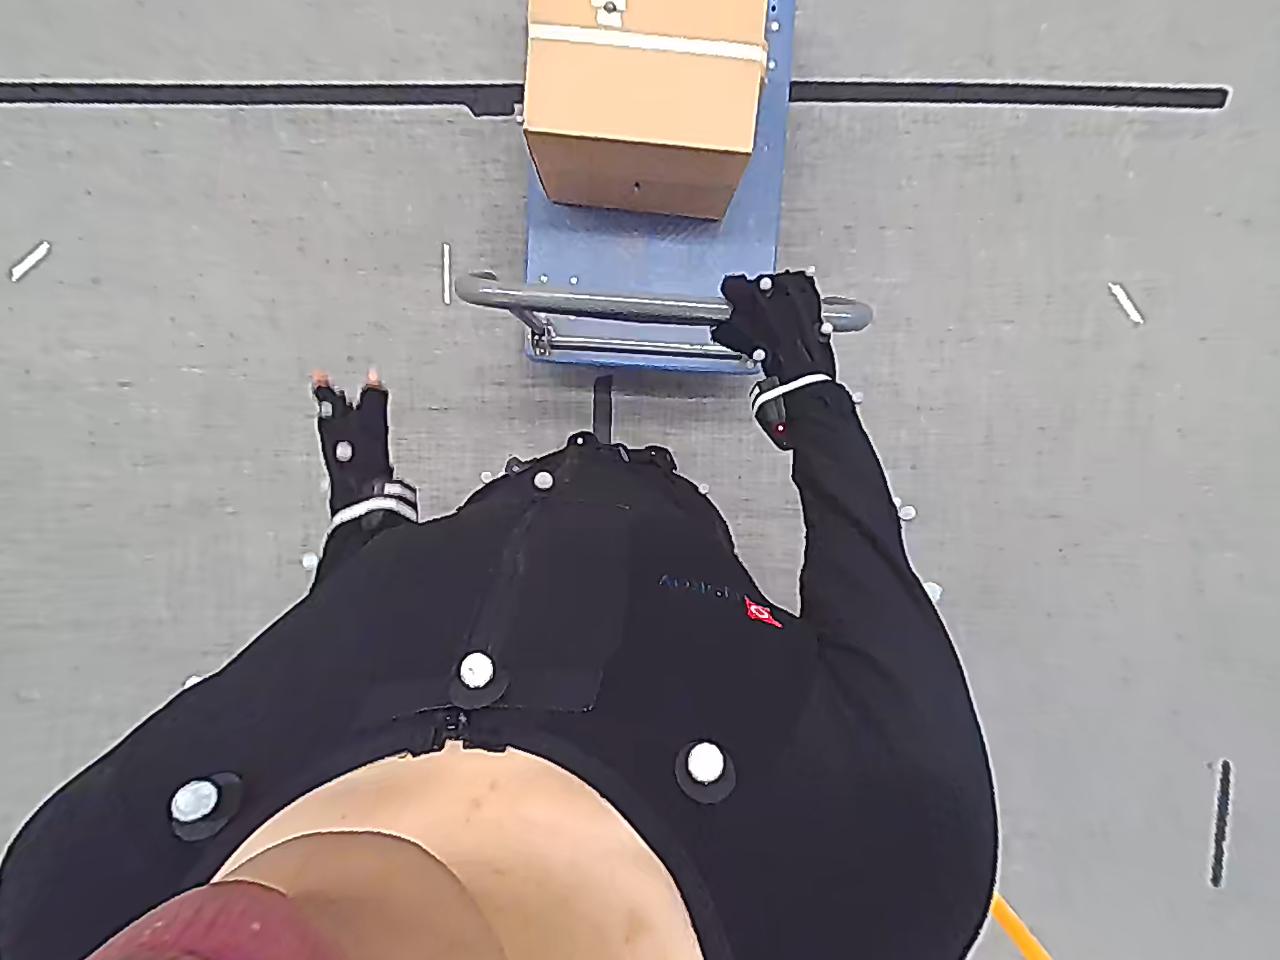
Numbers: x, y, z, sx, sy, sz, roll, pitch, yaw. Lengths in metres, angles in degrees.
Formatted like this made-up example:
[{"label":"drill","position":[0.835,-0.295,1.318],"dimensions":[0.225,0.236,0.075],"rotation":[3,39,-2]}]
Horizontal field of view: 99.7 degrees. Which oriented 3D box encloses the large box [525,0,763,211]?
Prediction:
[{"label":"large box","position":[0.009,-0.760,1.076],"dimensions":[0.408,0.320,0.320],"rotation":[5,96,0]}]
